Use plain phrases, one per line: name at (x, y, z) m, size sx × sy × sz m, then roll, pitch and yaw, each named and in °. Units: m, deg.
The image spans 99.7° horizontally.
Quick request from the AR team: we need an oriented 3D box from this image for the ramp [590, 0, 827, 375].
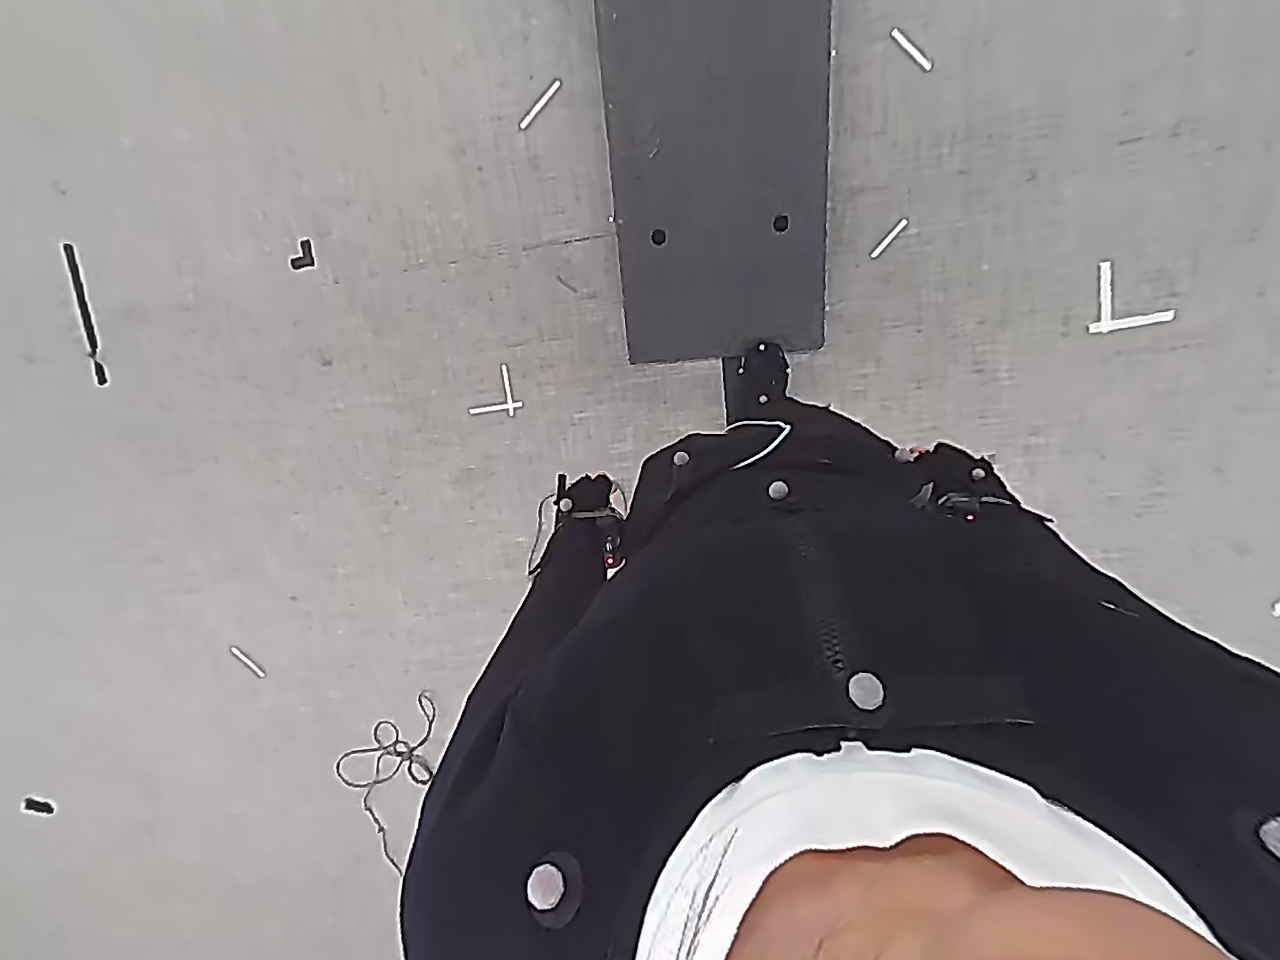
ramp at (0.171, -0.762, 1.234) m, size 0.509 × 0.206 × 0.991 m, roll -6°, pitch 99°, yaw 8°
